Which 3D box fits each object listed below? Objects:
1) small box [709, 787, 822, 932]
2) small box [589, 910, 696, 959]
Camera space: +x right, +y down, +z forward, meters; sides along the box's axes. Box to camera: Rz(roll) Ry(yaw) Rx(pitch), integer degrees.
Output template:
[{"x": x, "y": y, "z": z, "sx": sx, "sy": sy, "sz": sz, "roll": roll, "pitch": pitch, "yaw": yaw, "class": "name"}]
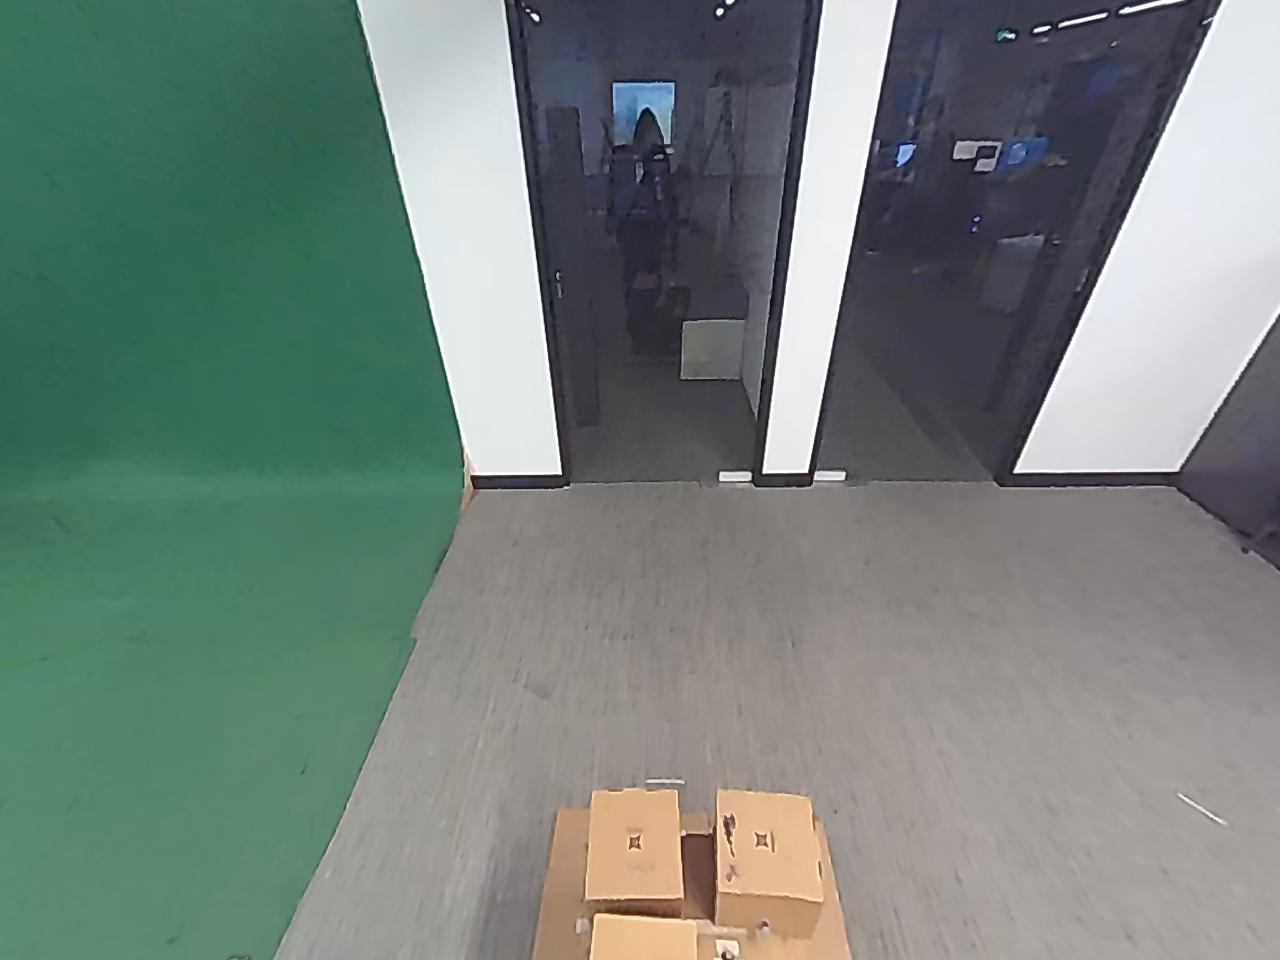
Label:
[{"x": 0.220, "y": 0.695, "z": 0.990, "sx": 0.179, "sy": 0.176, "sz": 0.168, "roll": 2, "pitch": 35, "yaw": 6, "class": "small box"}, {"x": 0.001, "y": 0.807, "z": 0.839, "sx": 0.168, "sy": 0.176, "sz": 0.179, "roll": 2, "pitch": 37, "yaw": 3, "class": "small box"}]
